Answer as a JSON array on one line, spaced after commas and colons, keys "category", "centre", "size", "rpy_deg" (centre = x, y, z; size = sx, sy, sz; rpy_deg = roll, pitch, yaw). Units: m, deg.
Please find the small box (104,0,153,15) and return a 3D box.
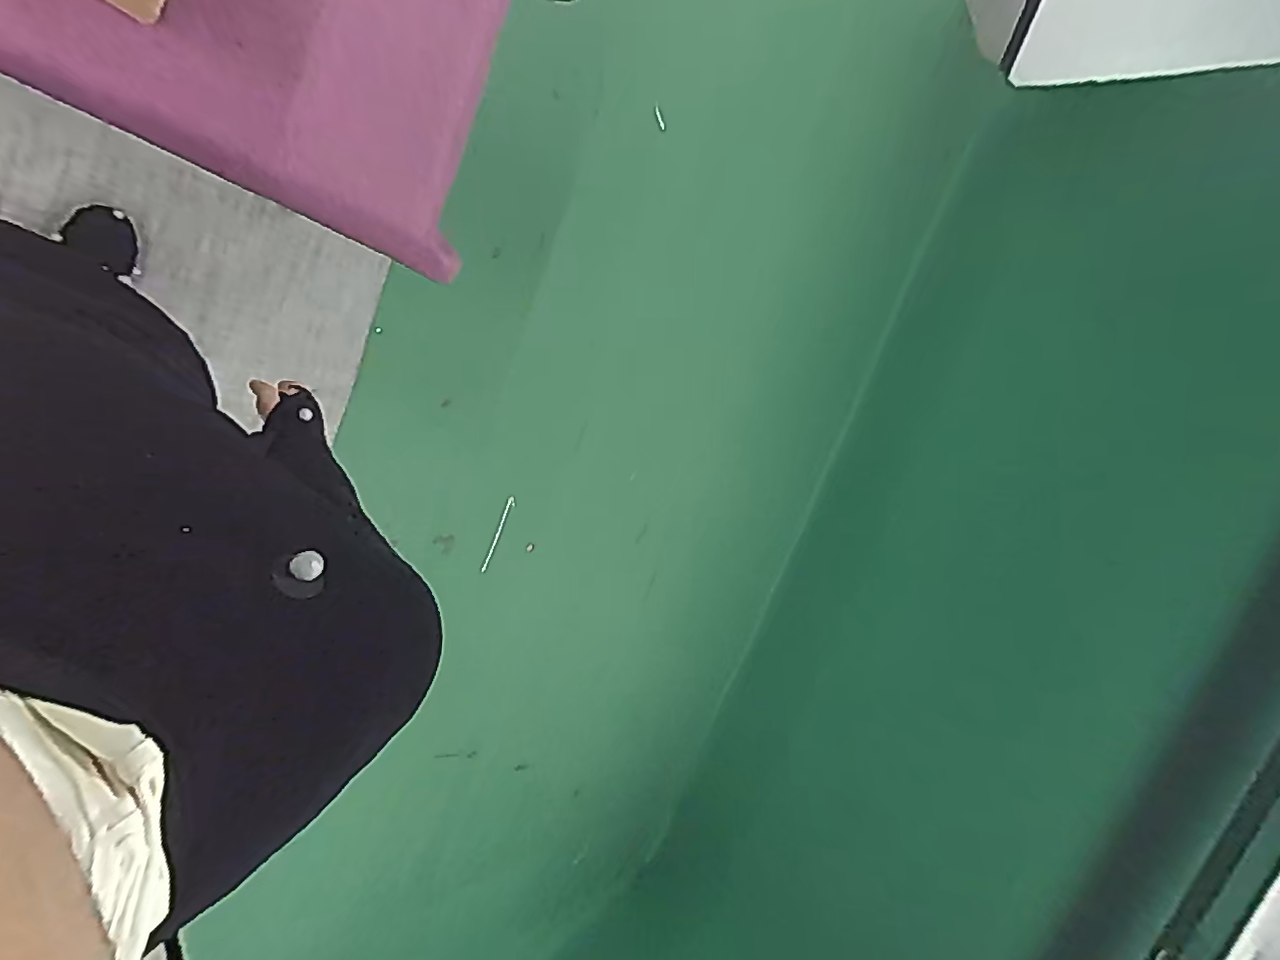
[{"category": "small box", "centre": [-0.500, -0.558, 0.460], "size": [0.168, 0.176, 0.179], "rpy_deg": [15, 100, -47]}]
